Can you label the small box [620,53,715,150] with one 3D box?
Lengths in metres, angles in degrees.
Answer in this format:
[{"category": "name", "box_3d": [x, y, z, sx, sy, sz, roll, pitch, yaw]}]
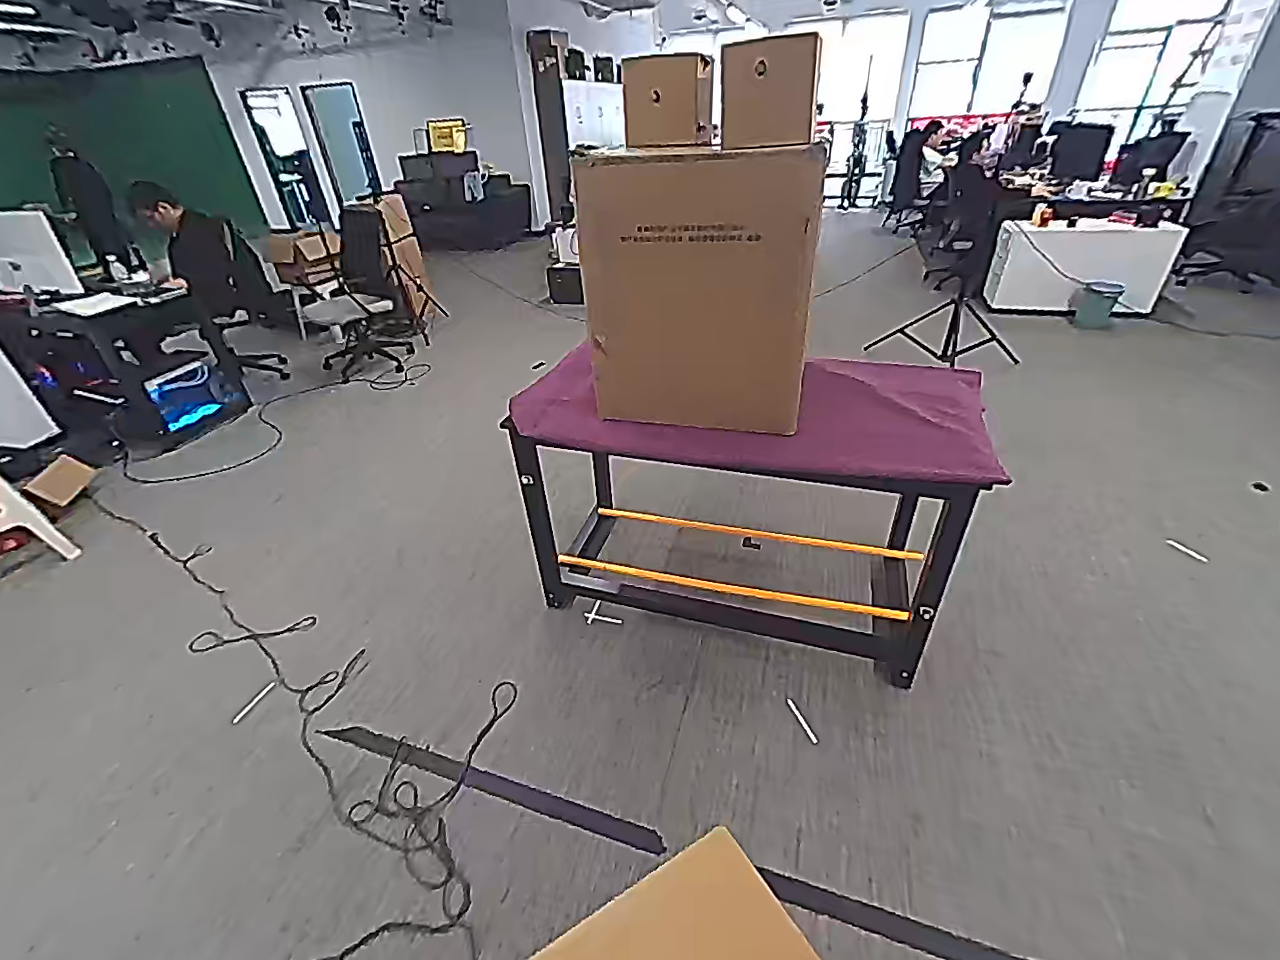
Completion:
[{"category": "small box", "box_3d": [0.069, -0.878, 1.262, 0.179, 0.176, 0.168, 9, 34, 20]}]
